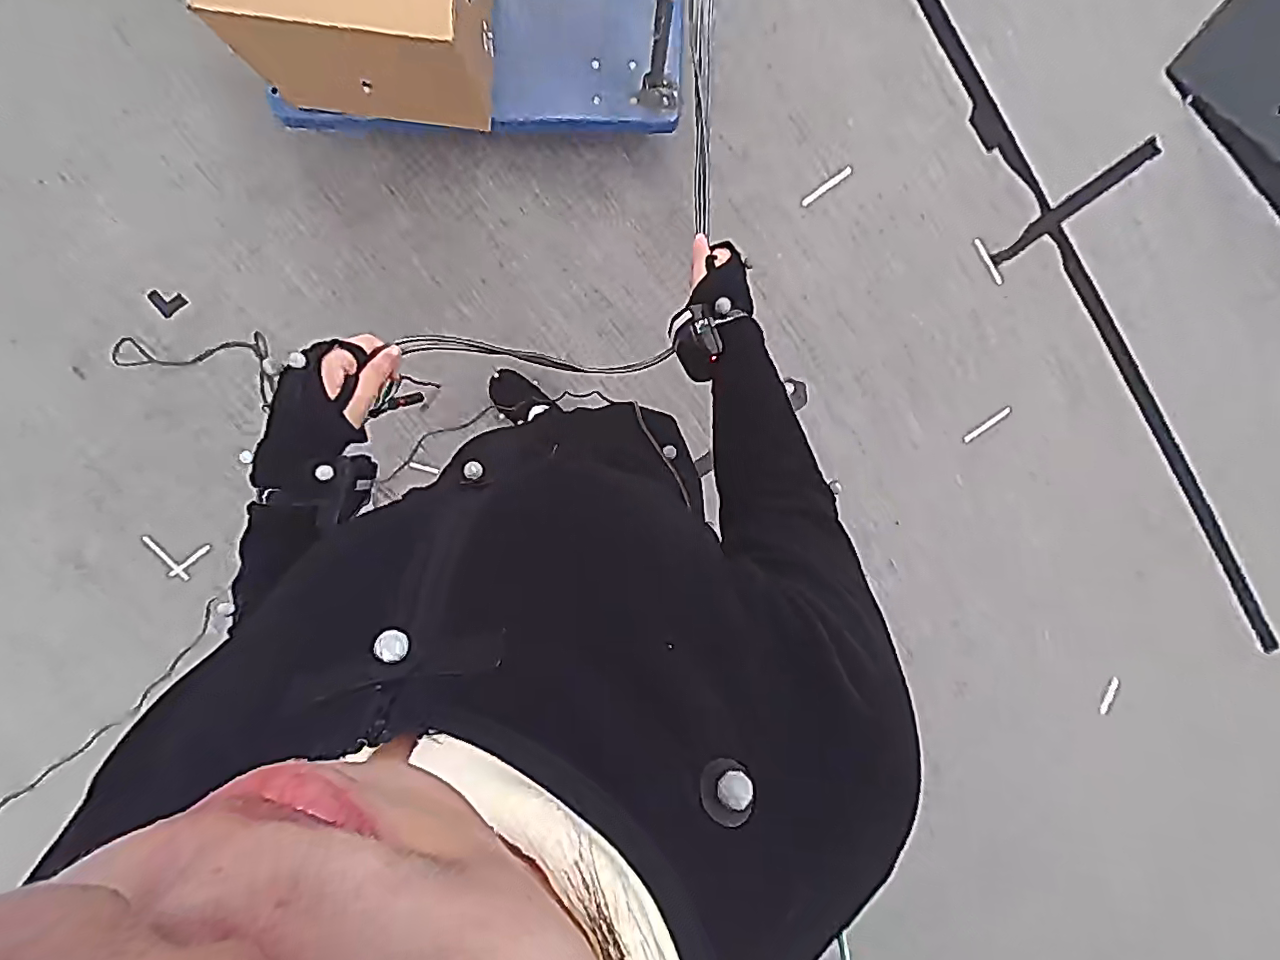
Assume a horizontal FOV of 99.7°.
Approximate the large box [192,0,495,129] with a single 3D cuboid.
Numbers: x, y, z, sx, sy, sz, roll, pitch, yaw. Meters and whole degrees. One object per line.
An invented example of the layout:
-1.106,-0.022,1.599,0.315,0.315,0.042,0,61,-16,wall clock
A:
-0.488,-0.875,0.965,0.408,0.320,0.320,4,99,-4,large box
